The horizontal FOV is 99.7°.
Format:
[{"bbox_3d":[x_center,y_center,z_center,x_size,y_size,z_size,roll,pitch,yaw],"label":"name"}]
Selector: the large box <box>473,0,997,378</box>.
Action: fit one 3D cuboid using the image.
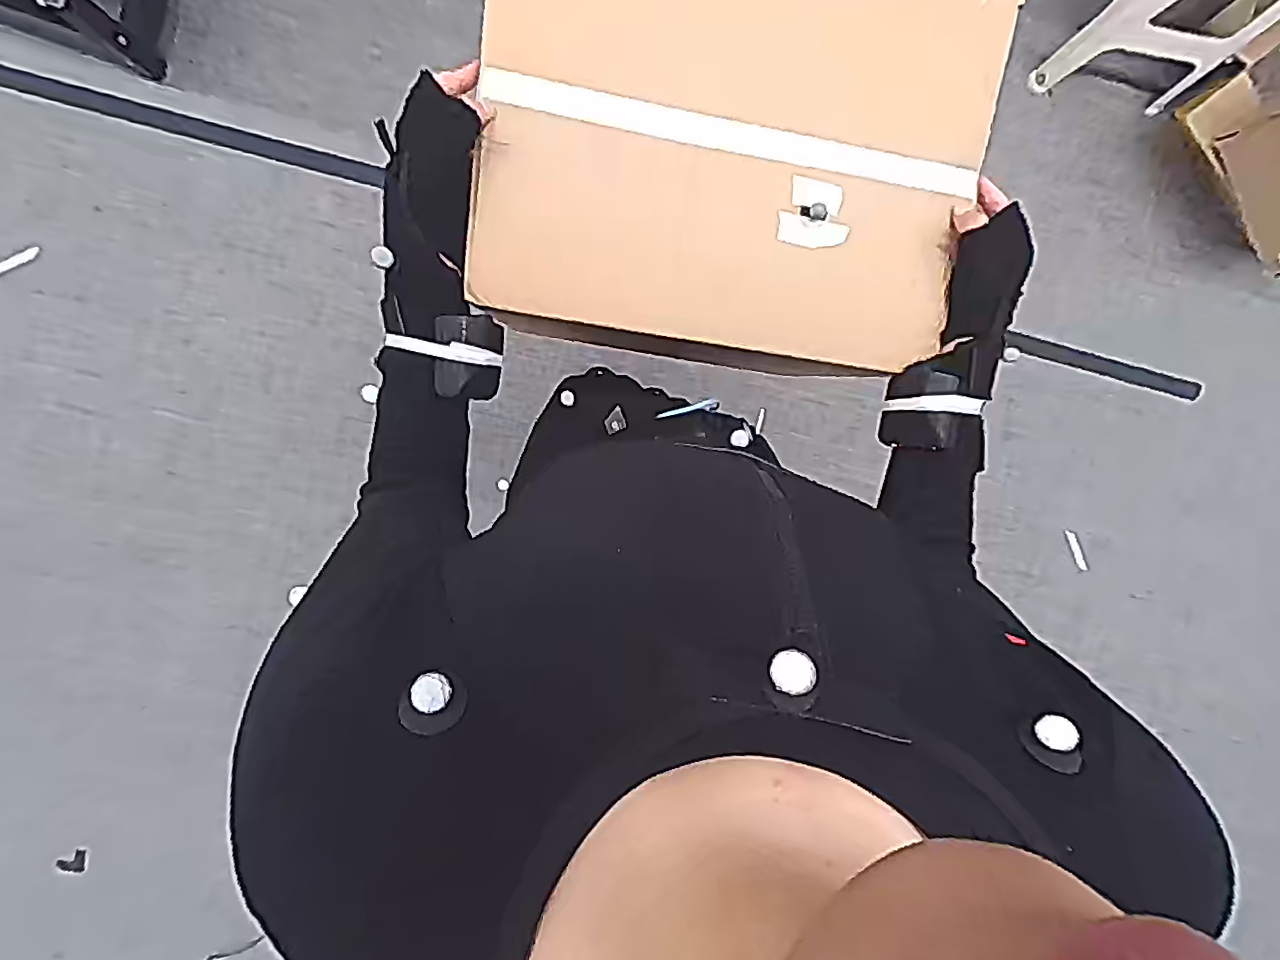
[{"bbox_3d":[0.059,-0.292,0.584,0.408,0.320,0.320,8,101,-9],"label":"large box"}]
